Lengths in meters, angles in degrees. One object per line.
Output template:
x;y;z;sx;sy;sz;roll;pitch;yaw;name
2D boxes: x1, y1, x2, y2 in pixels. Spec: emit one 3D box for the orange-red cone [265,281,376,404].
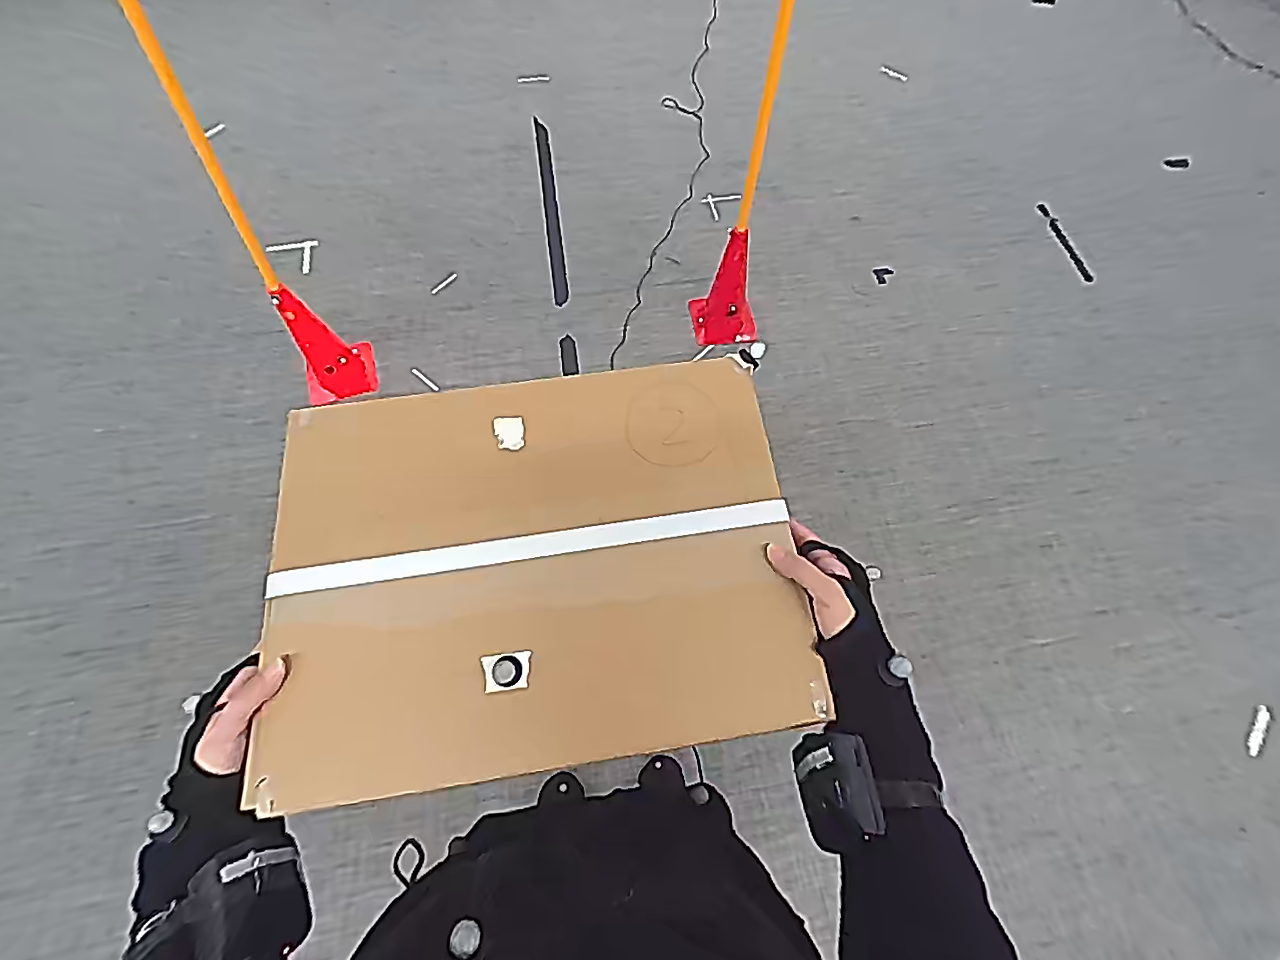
-0.915;-0.403;1.499;0.199;0.360;0.198;-17;65;-8;orange-red cone
